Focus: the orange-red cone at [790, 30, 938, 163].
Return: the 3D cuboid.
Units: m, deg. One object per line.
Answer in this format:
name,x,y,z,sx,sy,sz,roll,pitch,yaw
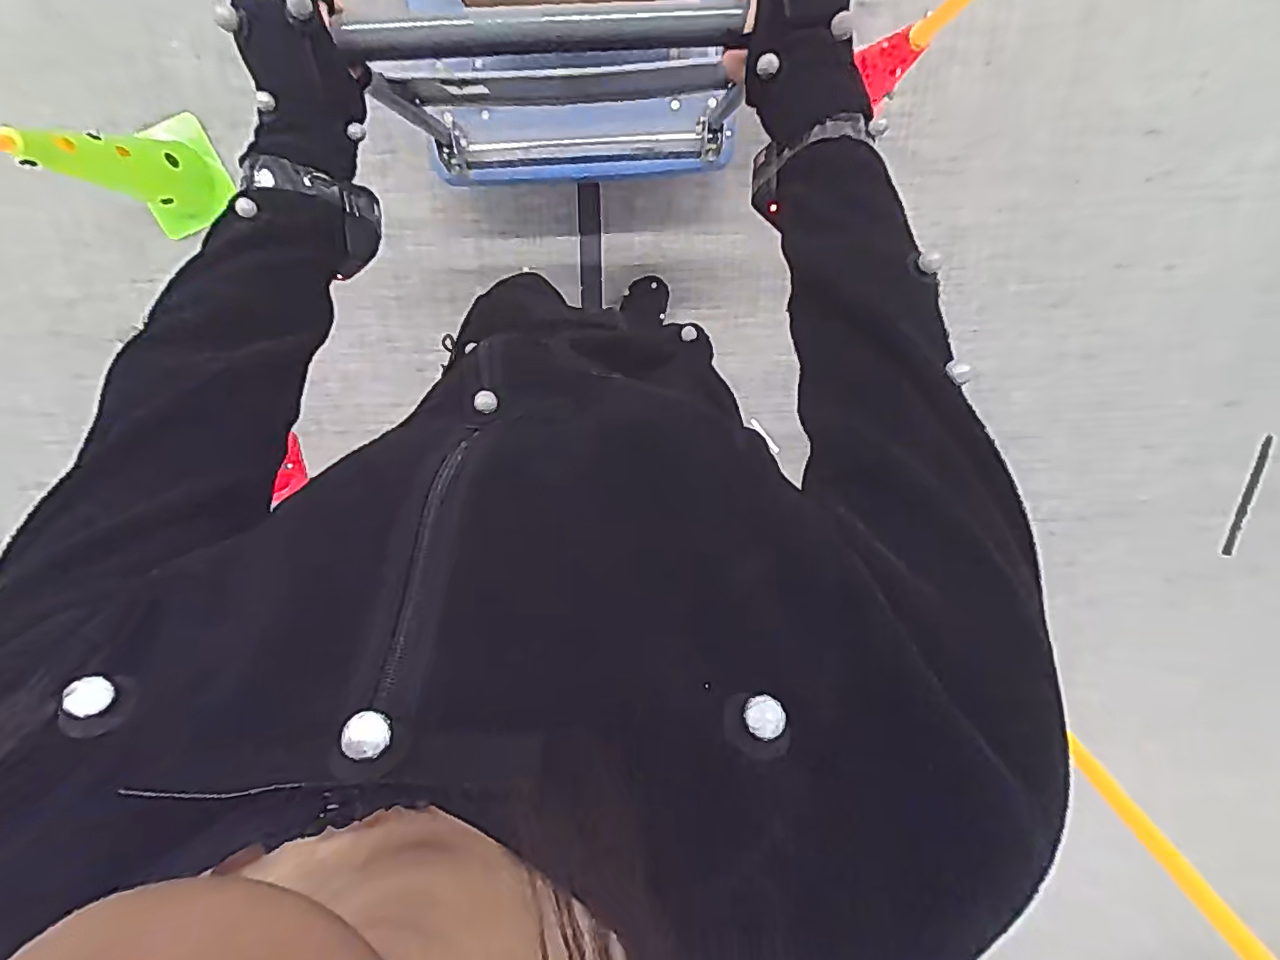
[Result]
orange-red cone,0.442,-0.744,1.005,0.199,0.360,0.198,5,111,-5
